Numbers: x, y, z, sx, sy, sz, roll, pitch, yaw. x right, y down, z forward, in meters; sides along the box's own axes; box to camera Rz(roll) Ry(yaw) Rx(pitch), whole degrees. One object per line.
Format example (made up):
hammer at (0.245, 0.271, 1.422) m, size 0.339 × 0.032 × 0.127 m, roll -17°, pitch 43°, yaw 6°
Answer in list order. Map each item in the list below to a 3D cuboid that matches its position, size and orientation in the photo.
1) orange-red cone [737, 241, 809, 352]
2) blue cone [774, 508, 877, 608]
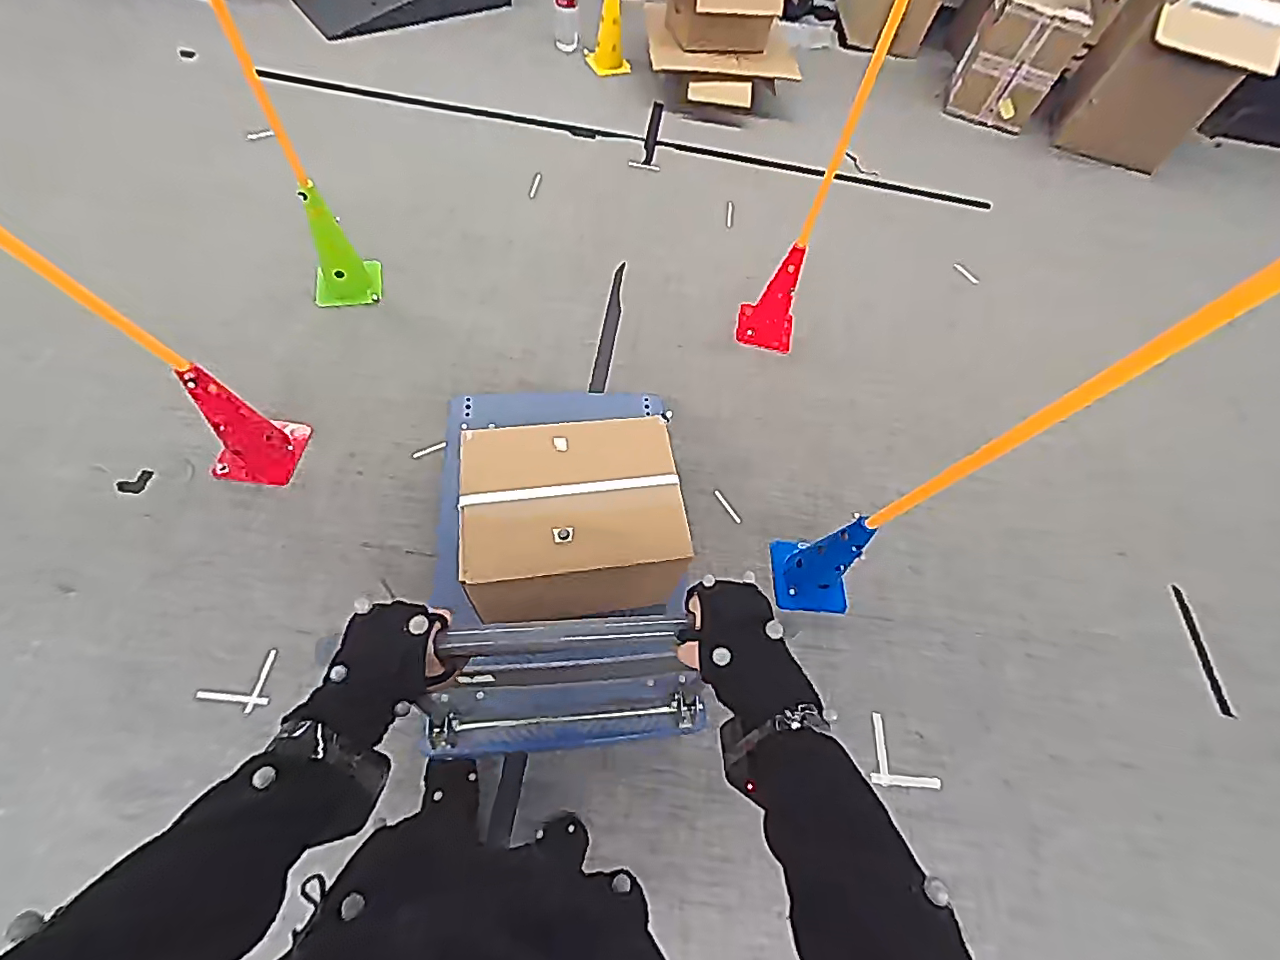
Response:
orange-red cone at (0.475, -0.628, 1.785) m, size 0.199 × 0.360 × 0.198 m, roll 15°, pitch 61°, yaw 0°
blue cone at (0.493, 0.179, 1.364) m, size 0.193 × 0.380 × 0.192 m, roll 6°, pitch 60°, yaw -5°
